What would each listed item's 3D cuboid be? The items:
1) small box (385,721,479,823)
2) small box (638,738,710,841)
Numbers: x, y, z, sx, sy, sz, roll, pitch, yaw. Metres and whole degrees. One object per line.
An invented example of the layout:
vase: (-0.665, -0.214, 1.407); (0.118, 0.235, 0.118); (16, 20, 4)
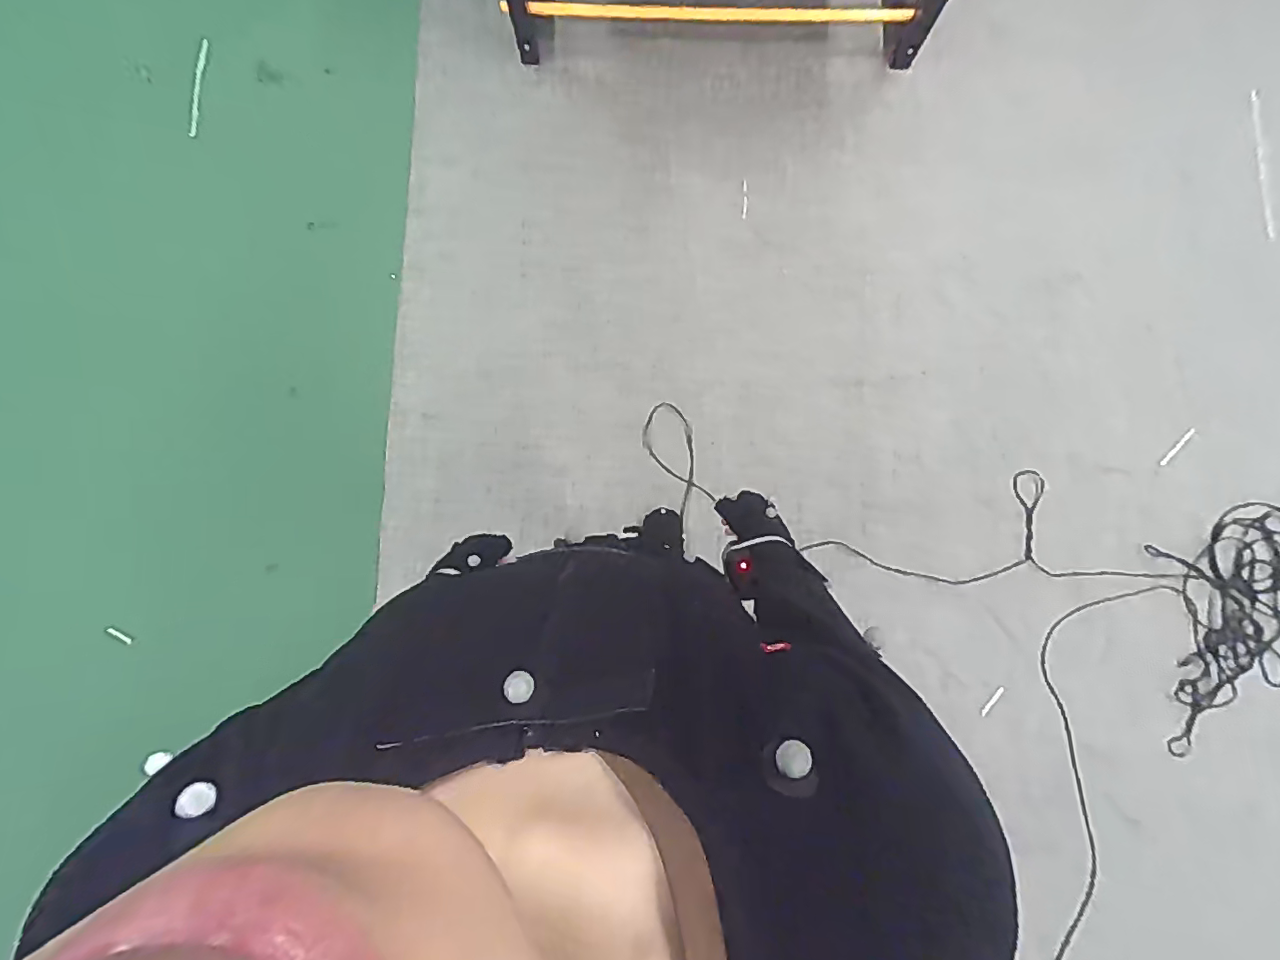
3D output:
small box: (-0.509, 0.716, 1.345); (0.168, 0.176, 0.179); (2, 84, 1)
small box: (0.080, 0.756, 1.338); (0.168, 0.176, 0.179); (2, 84, 0)
